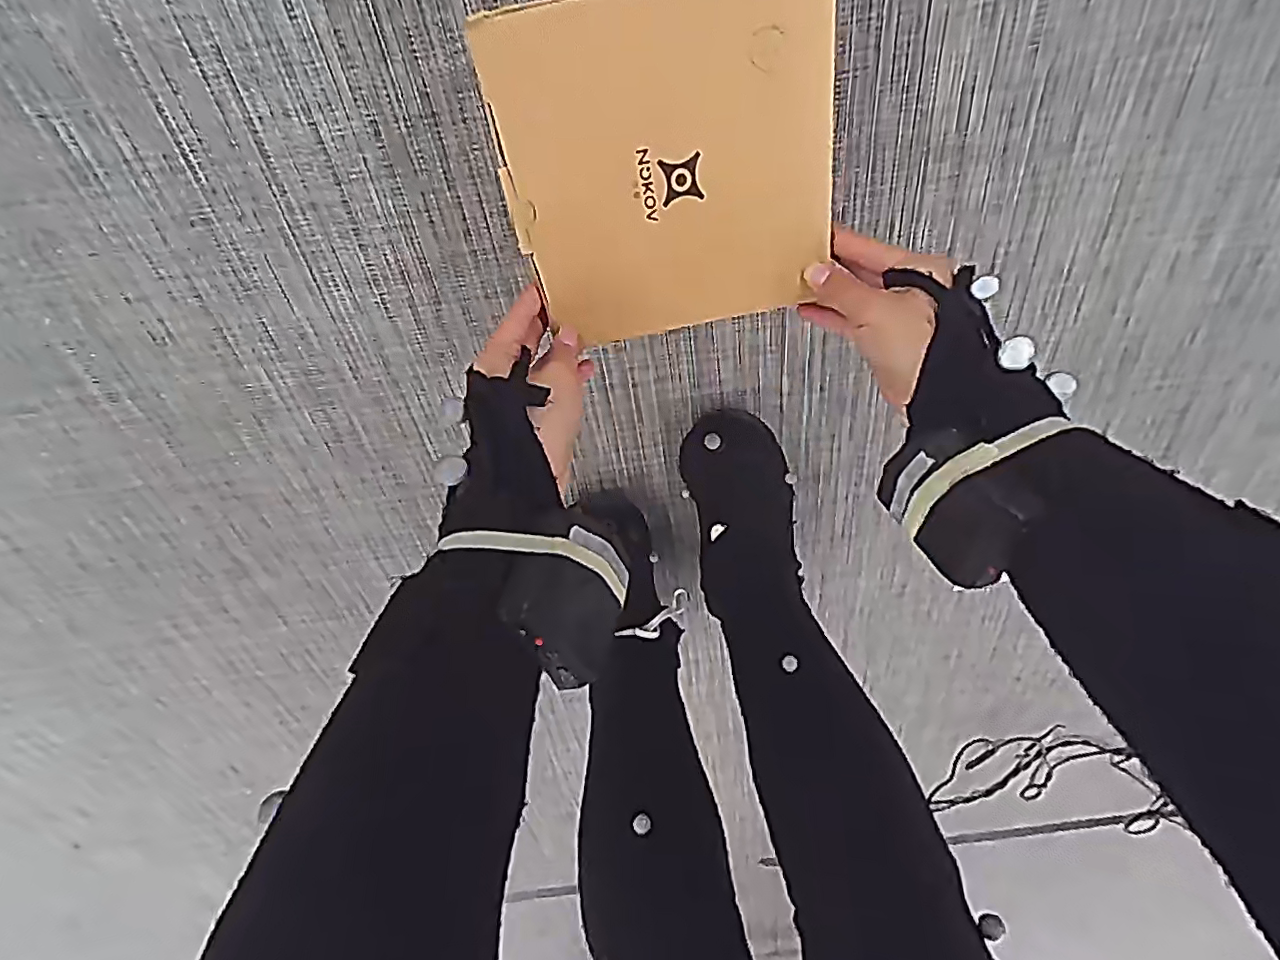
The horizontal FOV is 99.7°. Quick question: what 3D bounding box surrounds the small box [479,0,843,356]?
[{"bbox_3d":[0.015,-0.206,0.360,0.179,0.176,0.168,-10,127,4],"label":"small box"}]
